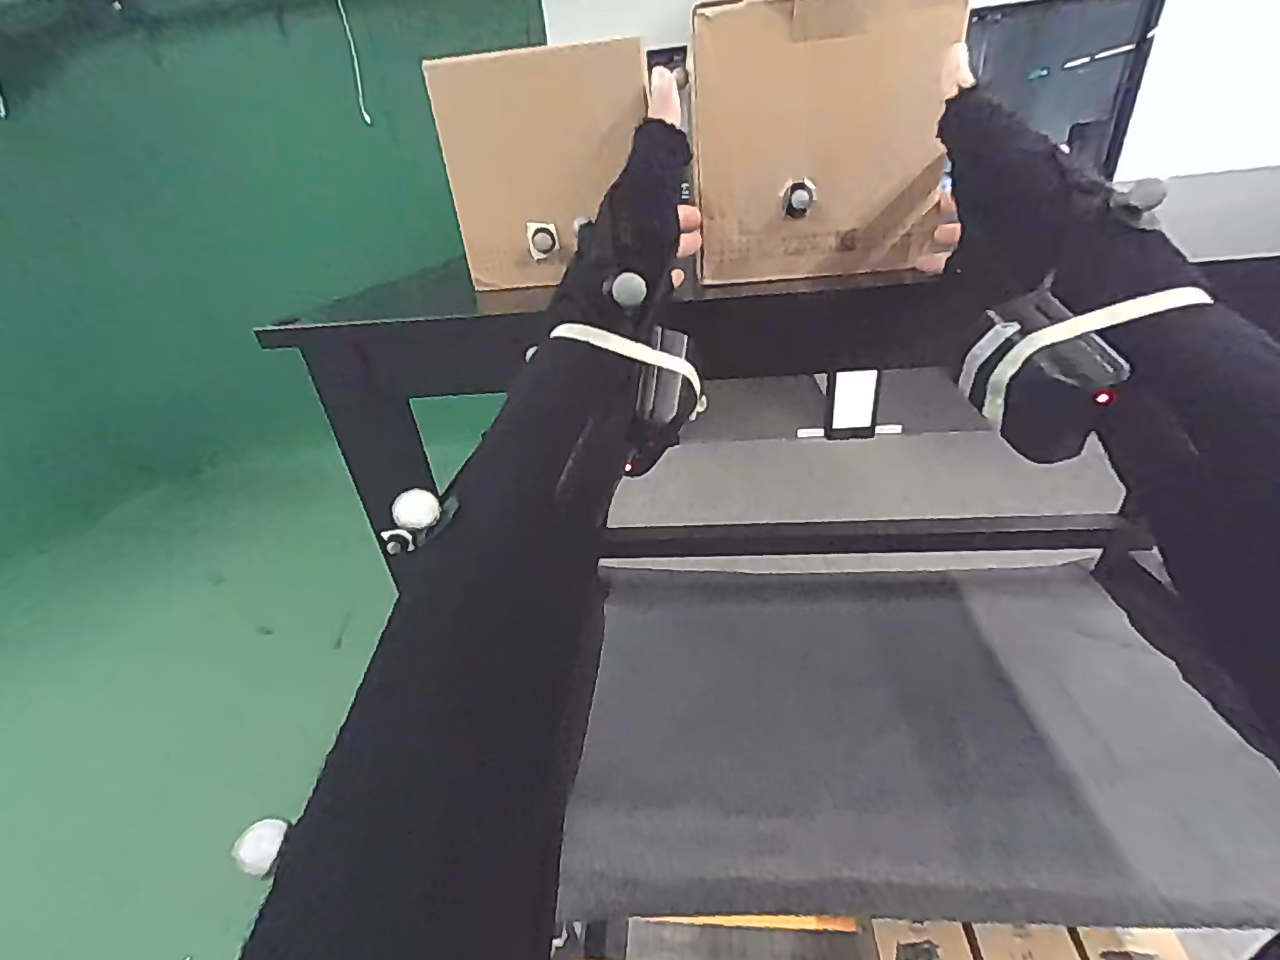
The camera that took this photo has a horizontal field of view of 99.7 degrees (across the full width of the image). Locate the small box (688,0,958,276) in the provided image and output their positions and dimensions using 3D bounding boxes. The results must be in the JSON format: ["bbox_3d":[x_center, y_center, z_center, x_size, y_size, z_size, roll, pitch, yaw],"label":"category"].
[{"bbox_3d":[0.124,-0.266,0.441,0.168,0.176,0.179,-3,28,5],"label":"small box"}]

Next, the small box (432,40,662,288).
[{"bbox_3d":[-0.068,-0.285,0.513,0.168,0.176,0.179,-5,29,4],"label":"small box"}]
